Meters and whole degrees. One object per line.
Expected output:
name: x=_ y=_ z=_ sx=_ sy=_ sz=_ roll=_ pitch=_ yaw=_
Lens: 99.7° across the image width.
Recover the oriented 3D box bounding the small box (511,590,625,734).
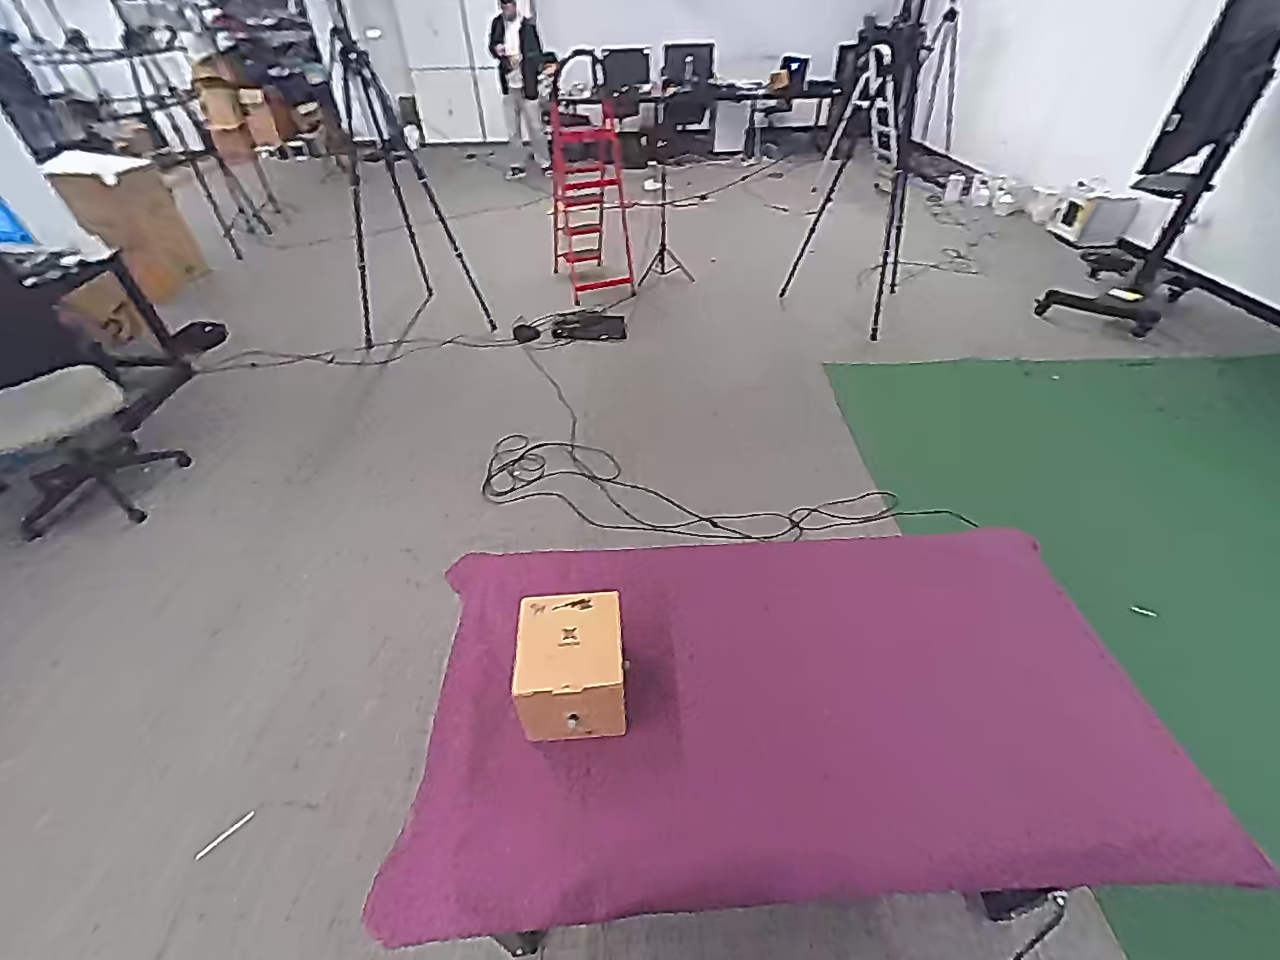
small box: x=-0.112 y=0.310 z=0.910 sx=0.168 sy=0.176 sz=0.179 roll=-3 pitch=42 yaw=-2
